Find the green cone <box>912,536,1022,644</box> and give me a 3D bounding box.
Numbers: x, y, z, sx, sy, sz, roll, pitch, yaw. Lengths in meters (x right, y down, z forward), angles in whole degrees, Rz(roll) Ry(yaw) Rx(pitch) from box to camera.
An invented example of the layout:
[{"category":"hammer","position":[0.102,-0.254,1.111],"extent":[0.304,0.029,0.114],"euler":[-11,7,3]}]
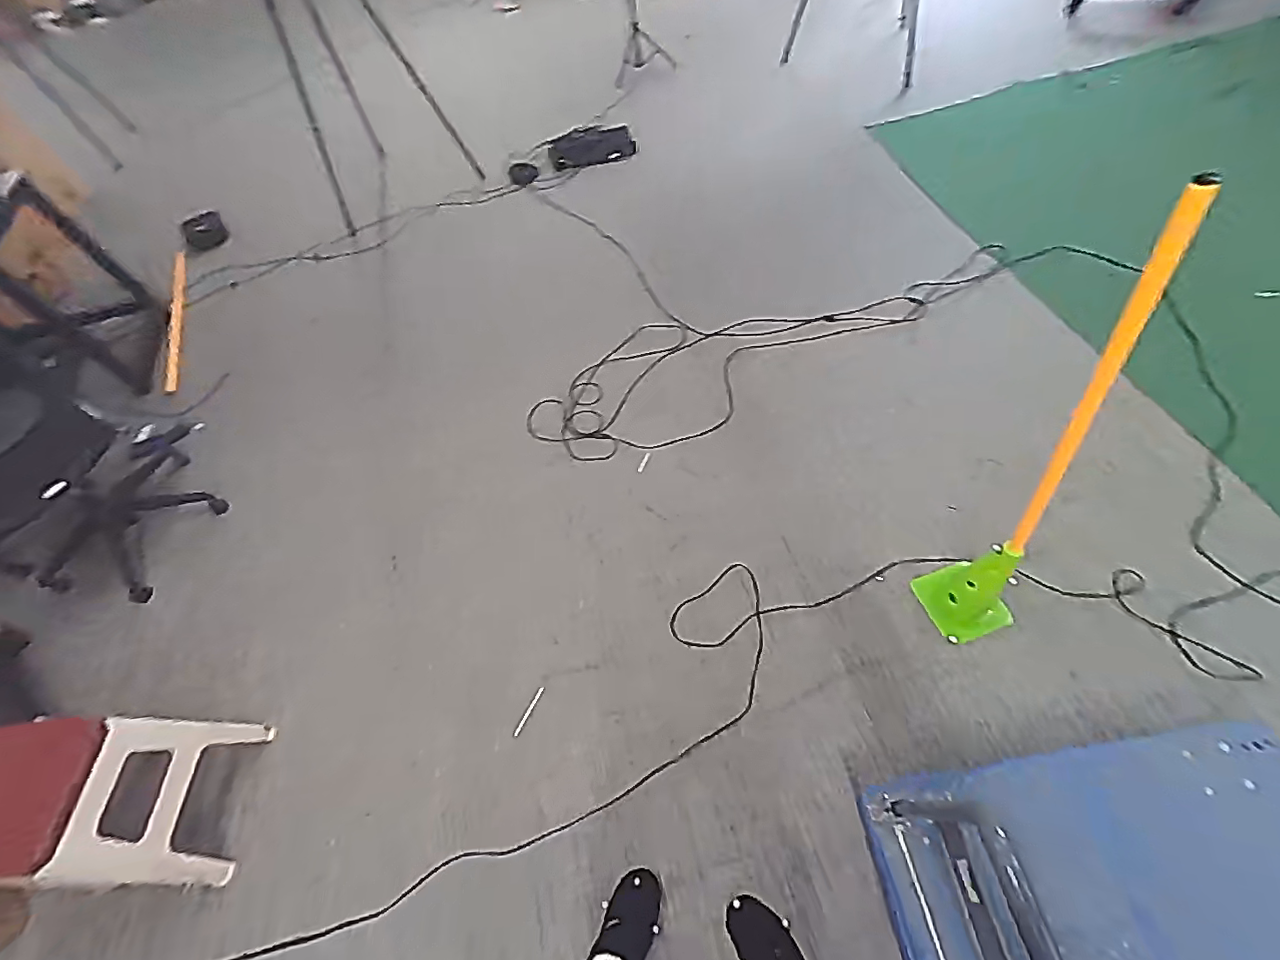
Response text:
[{"category":"green cone","position":[0.875,0.245,1.367],"extent":[0.200,0.368,0.202],"euler":[-20,56,-4]}]
